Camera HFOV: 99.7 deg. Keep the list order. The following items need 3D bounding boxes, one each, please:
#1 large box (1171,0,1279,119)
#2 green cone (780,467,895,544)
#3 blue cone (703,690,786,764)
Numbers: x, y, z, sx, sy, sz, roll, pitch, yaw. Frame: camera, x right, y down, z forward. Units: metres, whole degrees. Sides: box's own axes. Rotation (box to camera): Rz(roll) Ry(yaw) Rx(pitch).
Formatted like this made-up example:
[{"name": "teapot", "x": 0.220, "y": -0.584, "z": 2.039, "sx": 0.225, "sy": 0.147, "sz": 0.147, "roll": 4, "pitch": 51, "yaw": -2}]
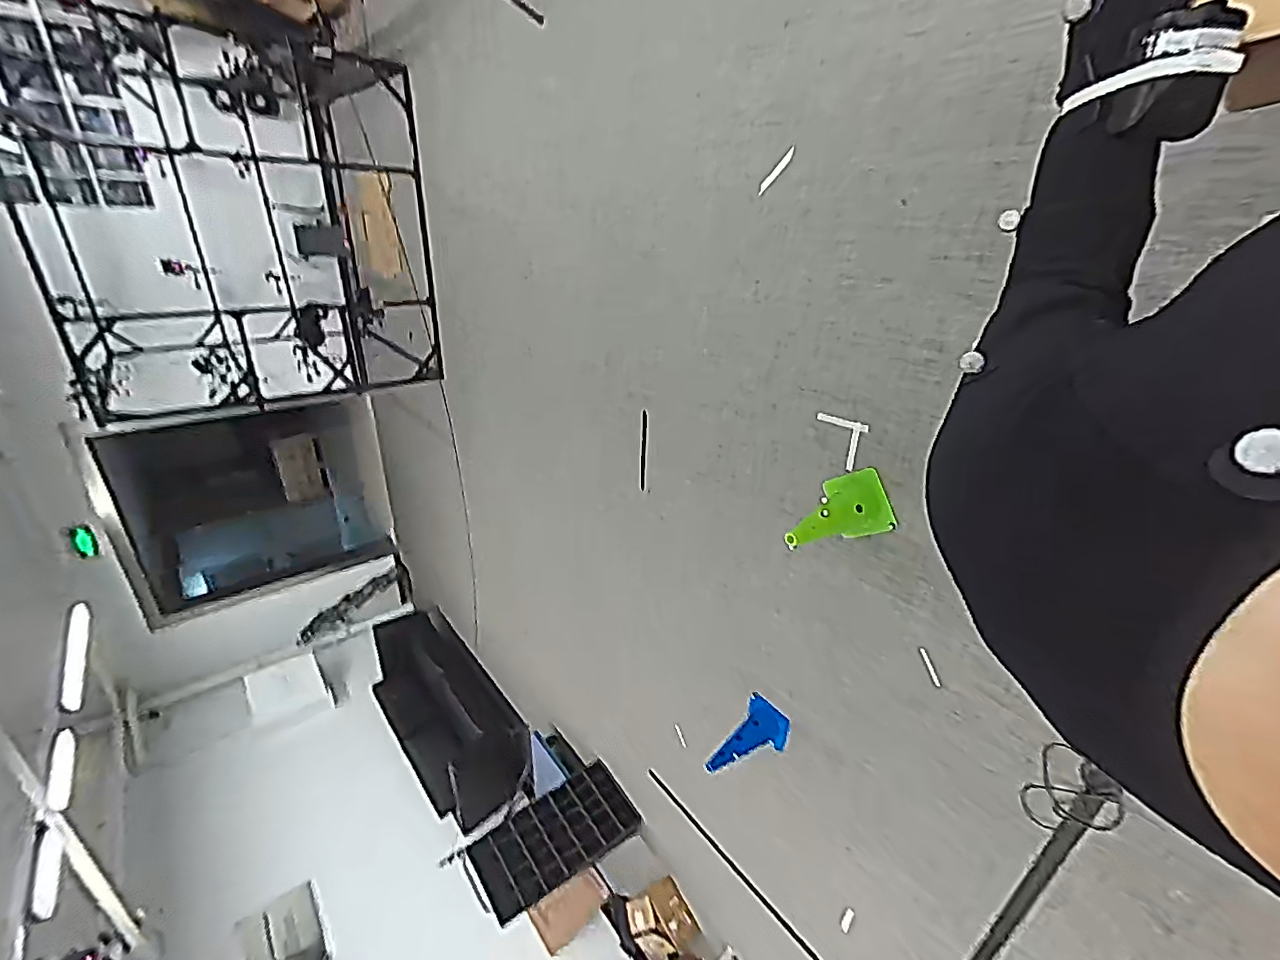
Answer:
[{"name": "large box", "x": 0.579, "y": -0.433, "z": 0.264, "sx": 0.408, "sy": 0.320, "sz": 0.320, "roll": 14, "pitch": 118, "yaw": 48}, {"name": "green cone", "x": 0.548, "y": 0.110, "z": 1.599, "sx": 0.202, "sy": 0.368, "sz": 0.200, "roll": -26, "pitch": 83, "yaw": 55}, {"name": "blue cone", "x": 0.409, "y": 1.053, "z": 2.209, "sx": 0.192, "sy": 0.380, "sz": 0.193, "roll": 35, "pitch": 130, "yaw": 42}]
